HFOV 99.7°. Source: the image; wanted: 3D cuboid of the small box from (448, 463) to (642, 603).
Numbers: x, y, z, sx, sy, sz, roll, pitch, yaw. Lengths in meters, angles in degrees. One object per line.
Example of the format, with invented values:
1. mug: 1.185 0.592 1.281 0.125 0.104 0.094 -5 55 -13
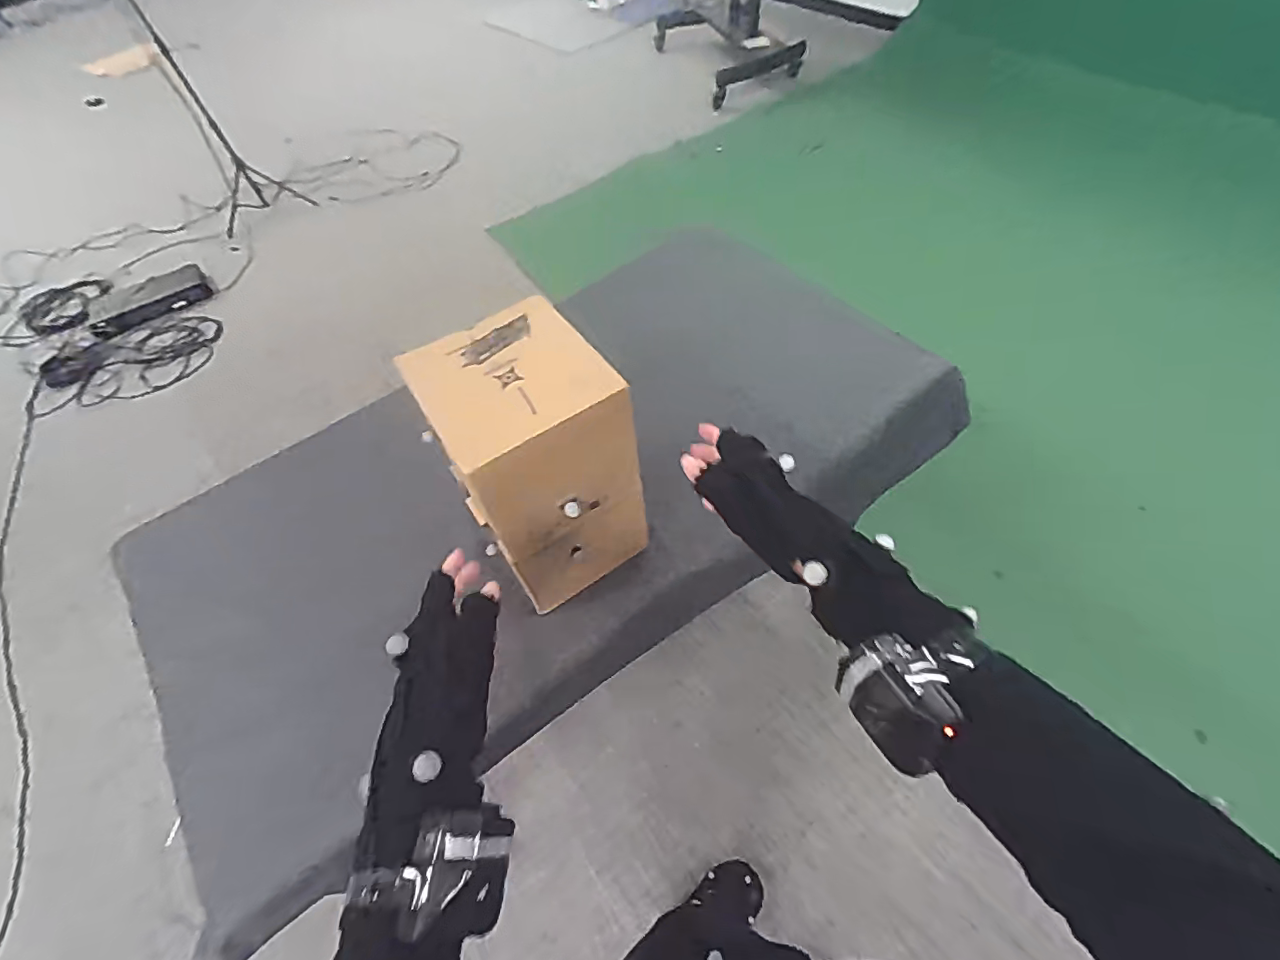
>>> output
1. small box: -0.113 0.032 0.708 0.179 0.176 0.168 -32 59 -15

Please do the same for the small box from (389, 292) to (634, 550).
1. small box: -0.125 -0.059 0.571 0.168 0.176 0.179 -34 57 -17
